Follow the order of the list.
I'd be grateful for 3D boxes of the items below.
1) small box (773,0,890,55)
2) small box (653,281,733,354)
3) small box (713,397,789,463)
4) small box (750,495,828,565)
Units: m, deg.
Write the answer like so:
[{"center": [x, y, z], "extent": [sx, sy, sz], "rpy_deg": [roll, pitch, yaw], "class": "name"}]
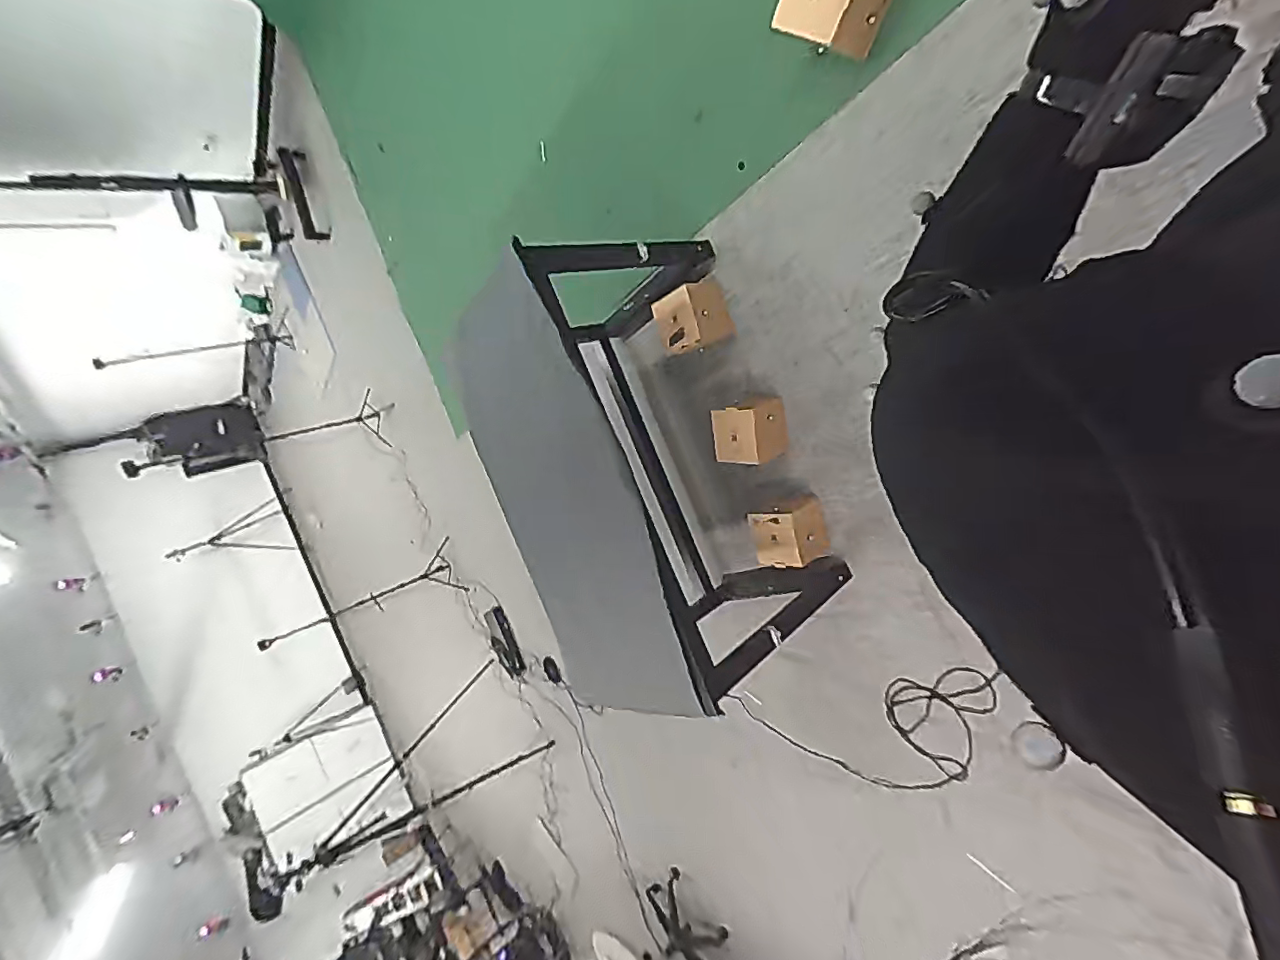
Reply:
[{"center": [0.440, -1.083, 1.209], "extent": [0.179, 0.176, 0.168], "rpy_deg": [42, 134, 26], "class": "small box"}, {"center": [0.176, -0.529, 1.754], "extent": [0.168, 0.176, 0.179], "rpy_deg": [-15, 96, 49], "class": "small box"}, {"center": [0.357, -0.166, 1.727], "extent": [0.168, 0.176, 0.179], "rpy_deg": [7, 114, 47], "class": "small box"}, {"center": [0.484, 0.157, 1.739], "extent": [0.168, 0.176, 0.179], "rpy_deg": [-5, 105, 48], "class": "small box"}]
